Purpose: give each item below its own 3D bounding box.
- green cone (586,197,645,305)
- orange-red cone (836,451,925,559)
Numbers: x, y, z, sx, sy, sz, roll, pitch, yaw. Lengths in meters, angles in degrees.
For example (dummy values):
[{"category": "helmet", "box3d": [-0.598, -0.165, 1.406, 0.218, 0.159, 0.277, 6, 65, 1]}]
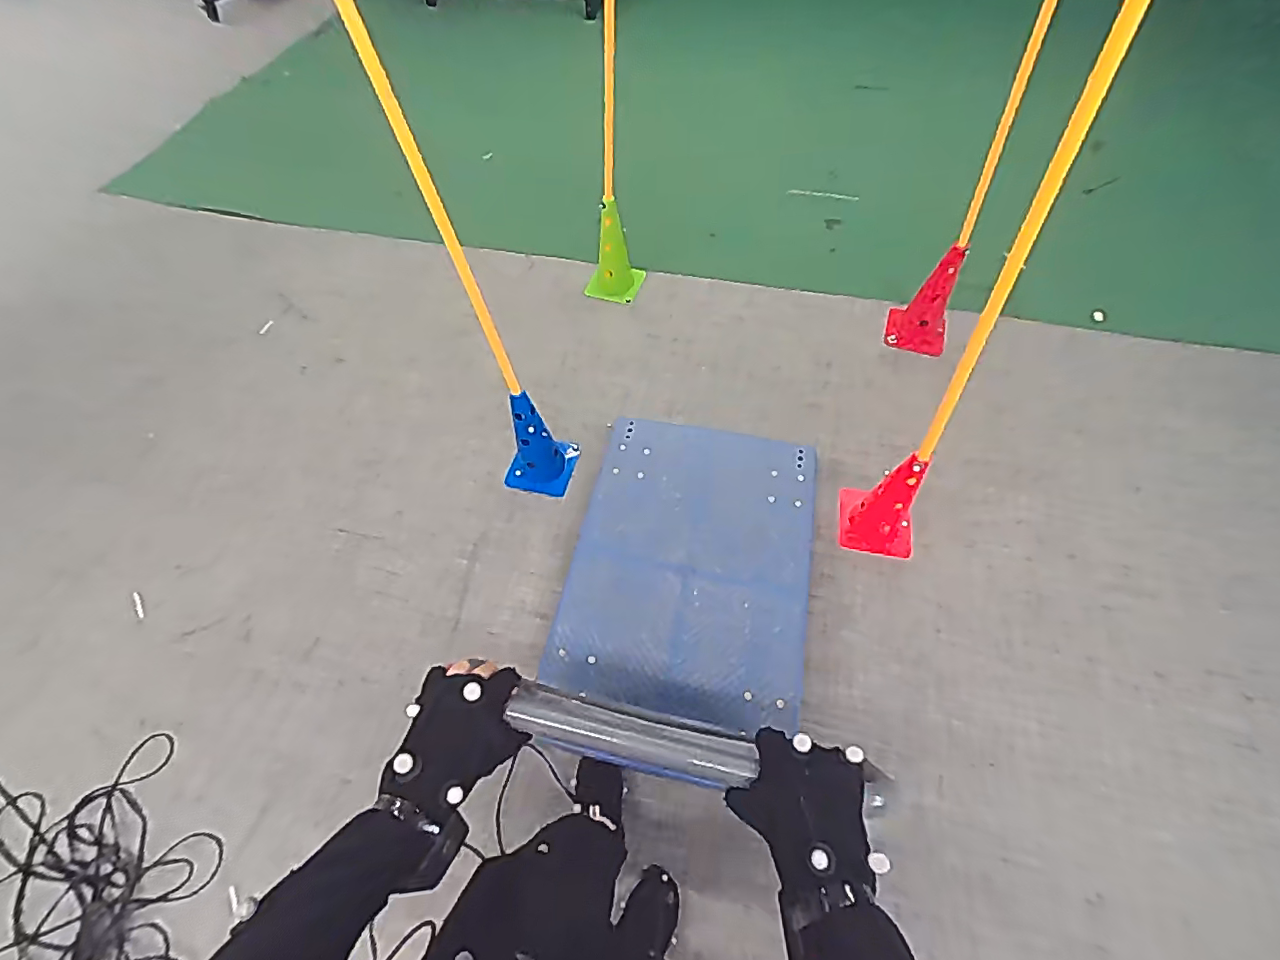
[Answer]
[{"category": "green cone", "box3d": [-0.103, -0.866, 2.005, 0.202, 0.368, 0.200, 15, 60, 12]}, {"category": "orange-red cone", "box3d": [0.666, 0.040, 1.432, 0.199, 0.360, 0.198, 10, 59, 10]}]
